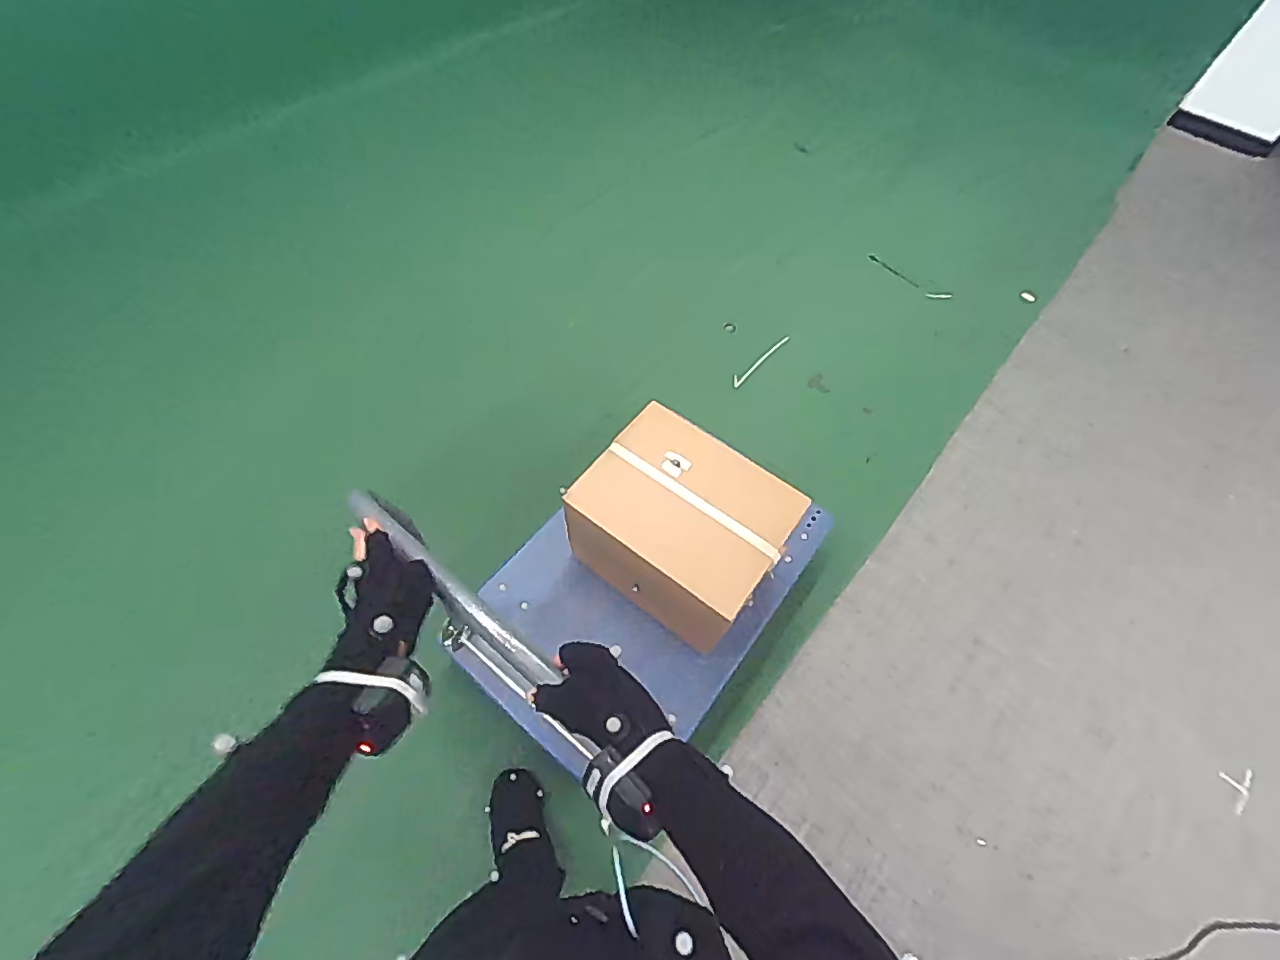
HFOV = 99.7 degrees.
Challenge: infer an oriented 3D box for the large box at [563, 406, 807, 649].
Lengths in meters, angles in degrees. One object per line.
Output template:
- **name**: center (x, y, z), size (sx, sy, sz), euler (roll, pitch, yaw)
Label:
- **large box**: center (0.090, 0.114, 1.218), size (0.408, 0.320, 0.320), euler (34, 64, 16)
